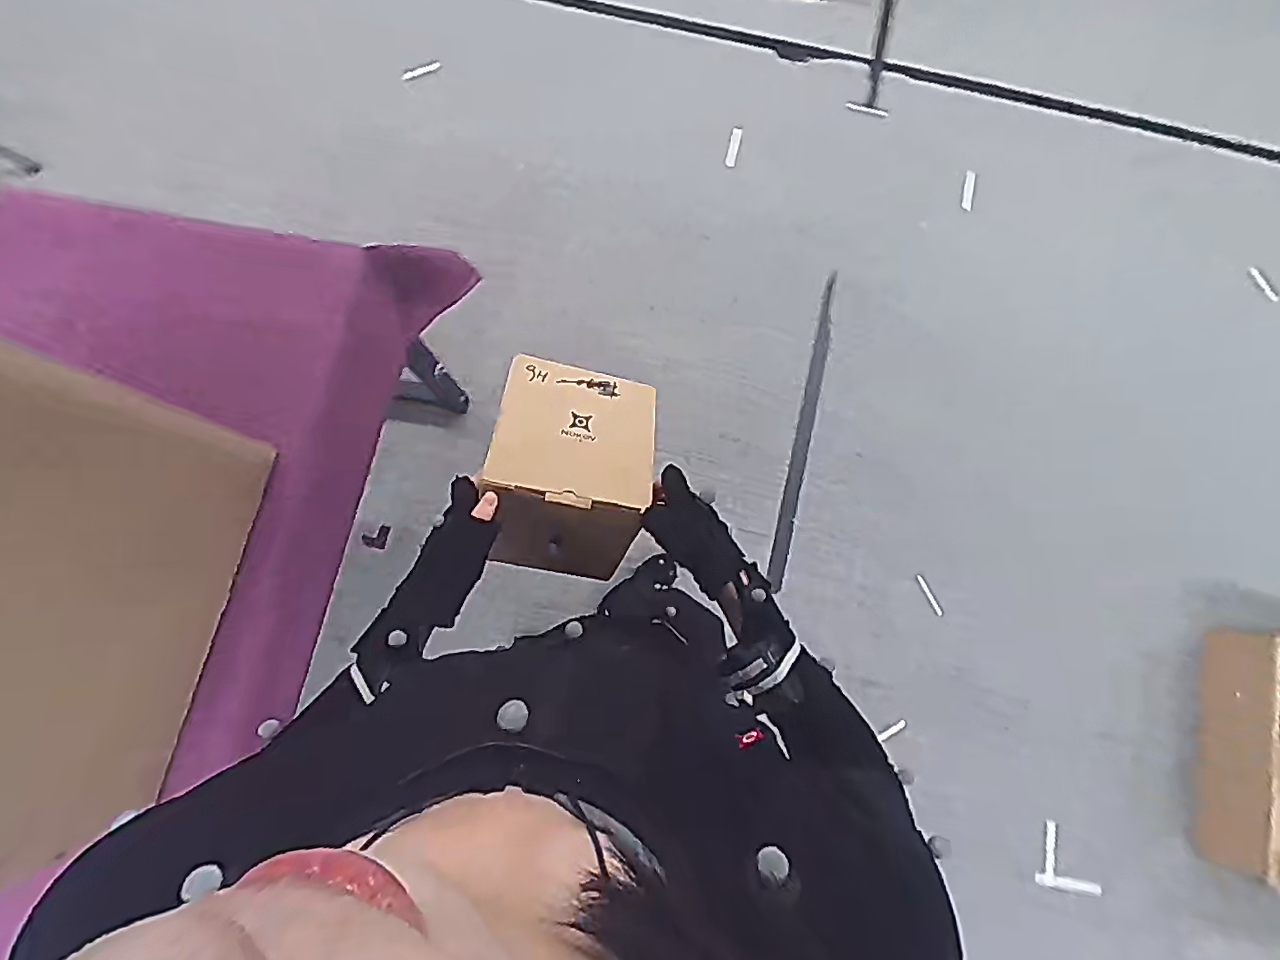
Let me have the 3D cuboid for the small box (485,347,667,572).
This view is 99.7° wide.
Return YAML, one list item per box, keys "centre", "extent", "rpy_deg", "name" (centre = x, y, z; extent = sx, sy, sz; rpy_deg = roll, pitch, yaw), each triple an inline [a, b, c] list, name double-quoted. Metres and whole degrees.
- centre: [-0.075, -0.014, 0.613]
  extent: [0.168, 0.176, 0.179]
  rpy_deg: [12, 54, -11]
  name: "small box"
